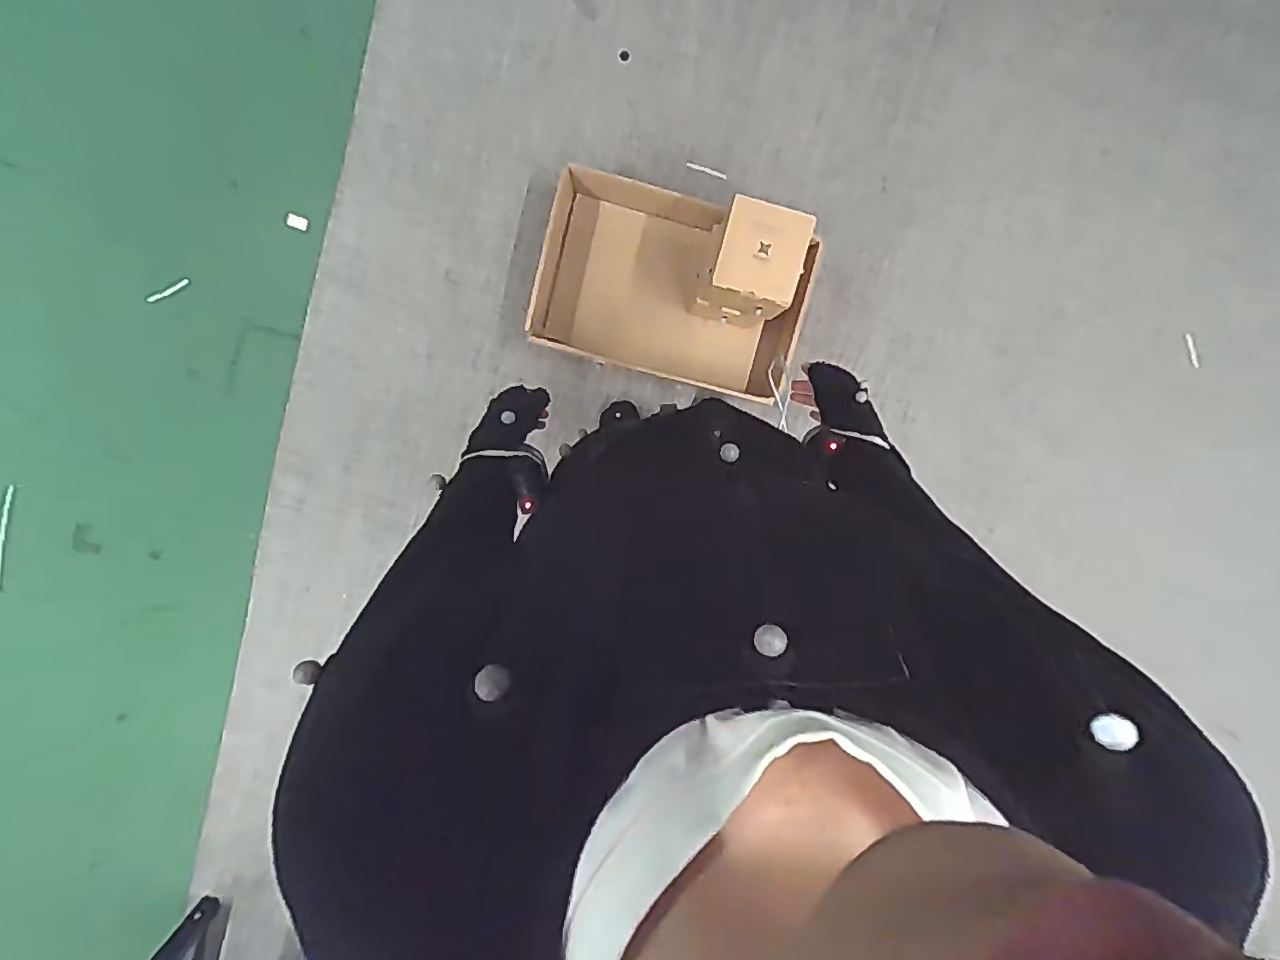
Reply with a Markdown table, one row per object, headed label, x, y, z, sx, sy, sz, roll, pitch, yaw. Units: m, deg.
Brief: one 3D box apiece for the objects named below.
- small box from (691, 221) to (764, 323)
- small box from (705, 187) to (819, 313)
| label | x | y | z | sx | sy | sz | roll | pitch | yaw |
| --- | --- | --- | --- | --- | --- | --- | --- | --- | --- |
| small box | 0.219 | -0.481 | 1.280 | 0.168 | 0.176 | 0.179 | 10 | 97 | -1 |
| small box | 0.237 | -0.454 | 1.100 | 0.168 | 0.176 | 0.179 | 15 | 97 | -3 |
